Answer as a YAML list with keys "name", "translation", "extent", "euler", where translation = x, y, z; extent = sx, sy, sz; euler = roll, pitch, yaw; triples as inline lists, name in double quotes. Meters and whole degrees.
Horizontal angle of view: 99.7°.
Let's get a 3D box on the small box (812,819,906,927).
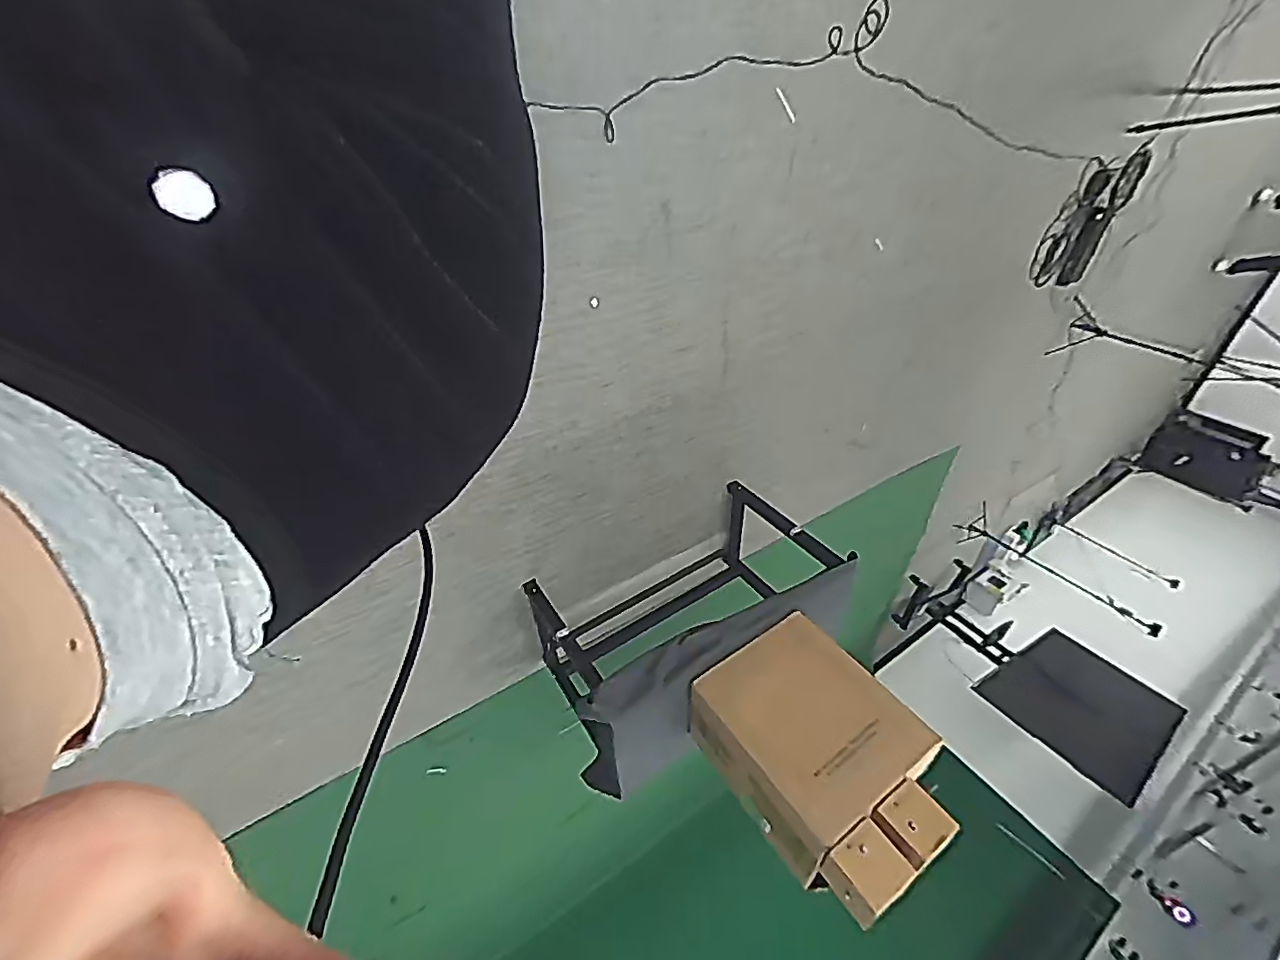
- name: "small box"
  translation: [0.614, 1.113, 1.541]
  extent: [0.168, 0.176, 0.179]
  euler: [-24, 133, -22]
